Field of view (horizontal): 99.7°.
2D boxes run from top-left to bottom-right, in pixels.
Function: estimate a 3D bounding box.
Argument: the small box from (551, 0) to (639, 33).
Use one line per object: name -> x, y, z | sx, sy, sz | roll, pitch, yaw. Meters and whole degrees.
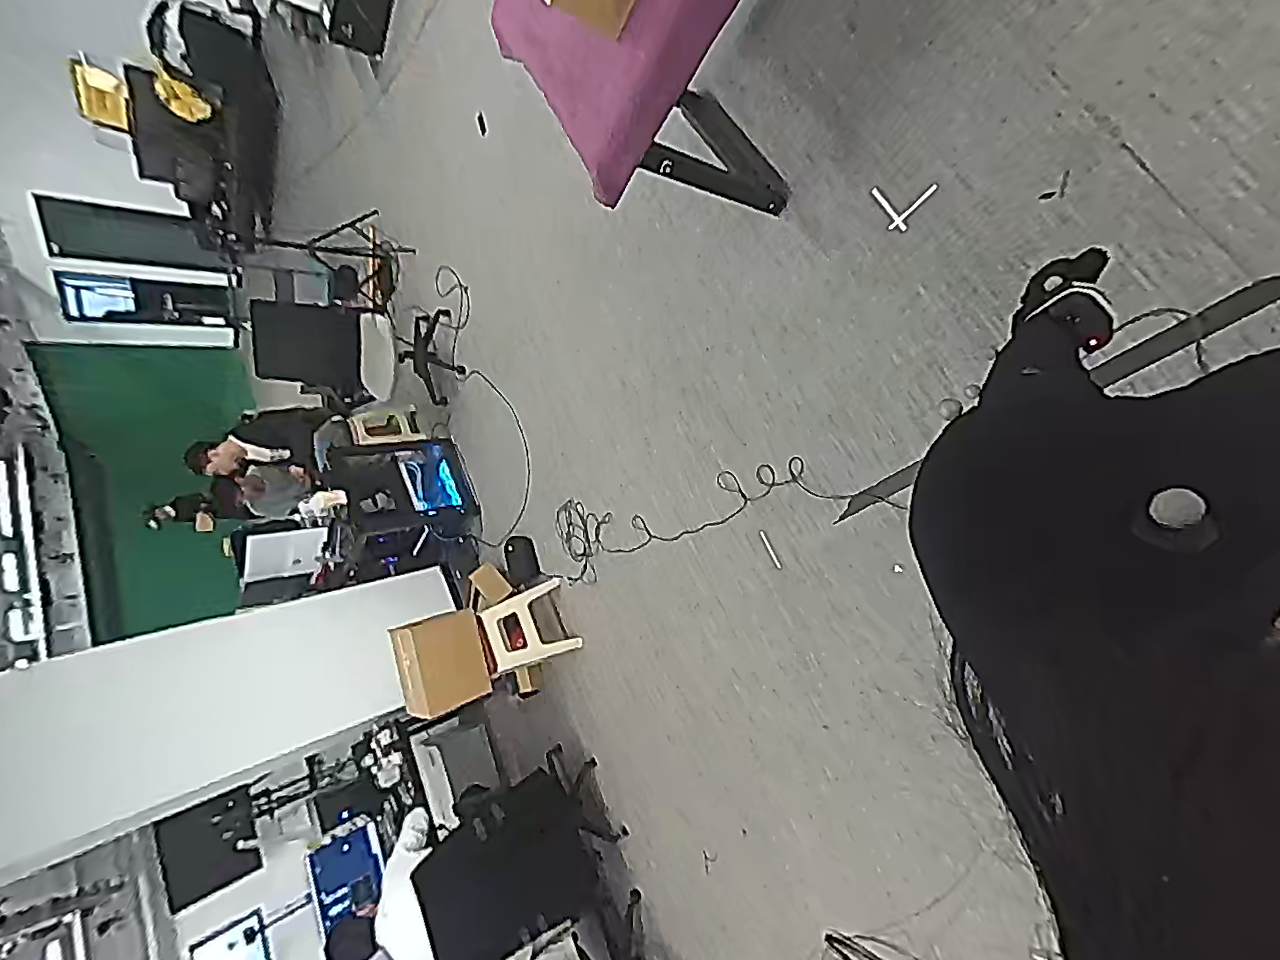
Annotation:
small box -> -0.094, -0.991, 1.009 | 0.168, 0.176, 0.179 | -47, 65, 42
